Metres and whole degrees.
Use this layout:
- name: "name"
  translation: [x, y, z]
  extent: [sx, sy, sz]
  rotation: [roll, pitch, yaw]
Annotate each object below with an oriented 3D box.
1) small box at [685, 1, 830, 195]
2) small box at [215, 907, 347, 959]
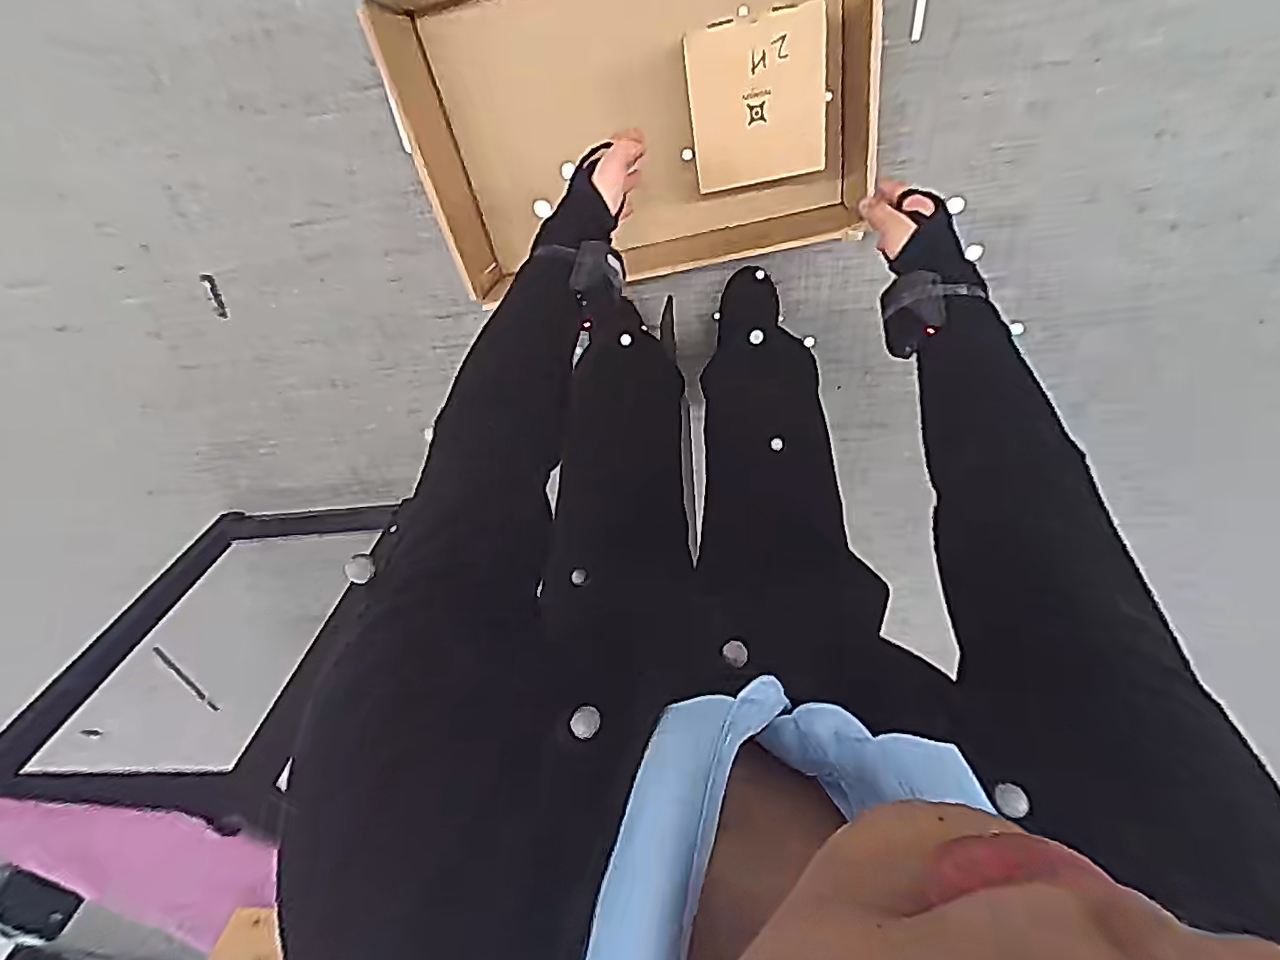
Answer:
- name: "small box"
  translation: [0.153, -0.509, 0.731]
  extent: [0.168, 0.176, 0.179]
  rotation: [-7, 125, 9]
- name: "small box"
  translation: [-0.724, 0.970, 1.067]
  extent: [0.168, 0.176, 0.179]
  rotation: [-3, 127, 7]
